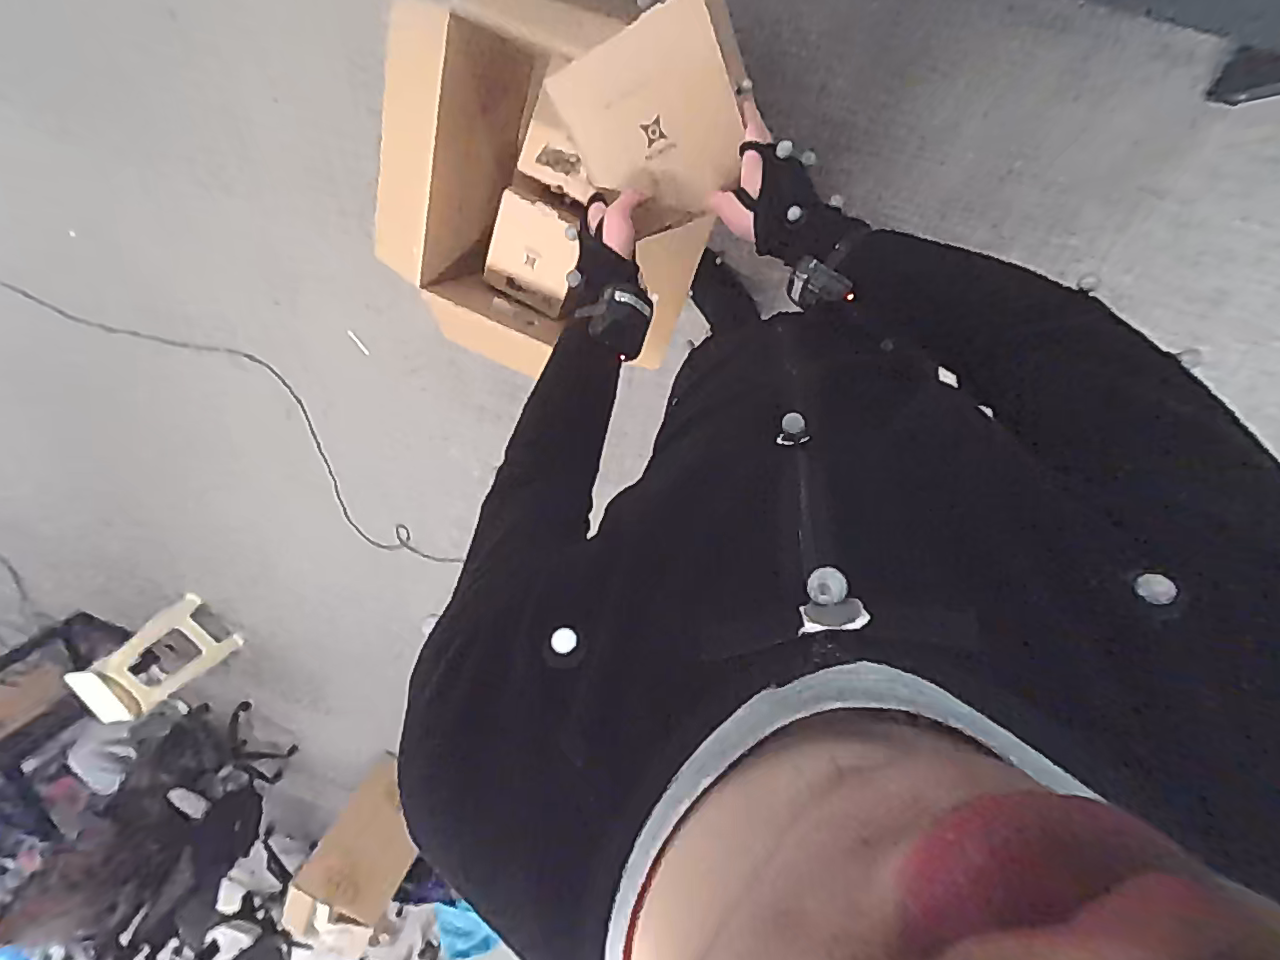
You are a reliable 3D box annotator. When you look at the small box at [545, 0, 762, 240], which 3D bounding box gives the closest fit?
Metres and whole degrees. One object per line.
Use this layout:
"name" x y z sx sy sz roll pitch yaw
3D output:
"small box" 0.030 -0.404 0.588 0.168 0.176 0.179 -13 130 25
